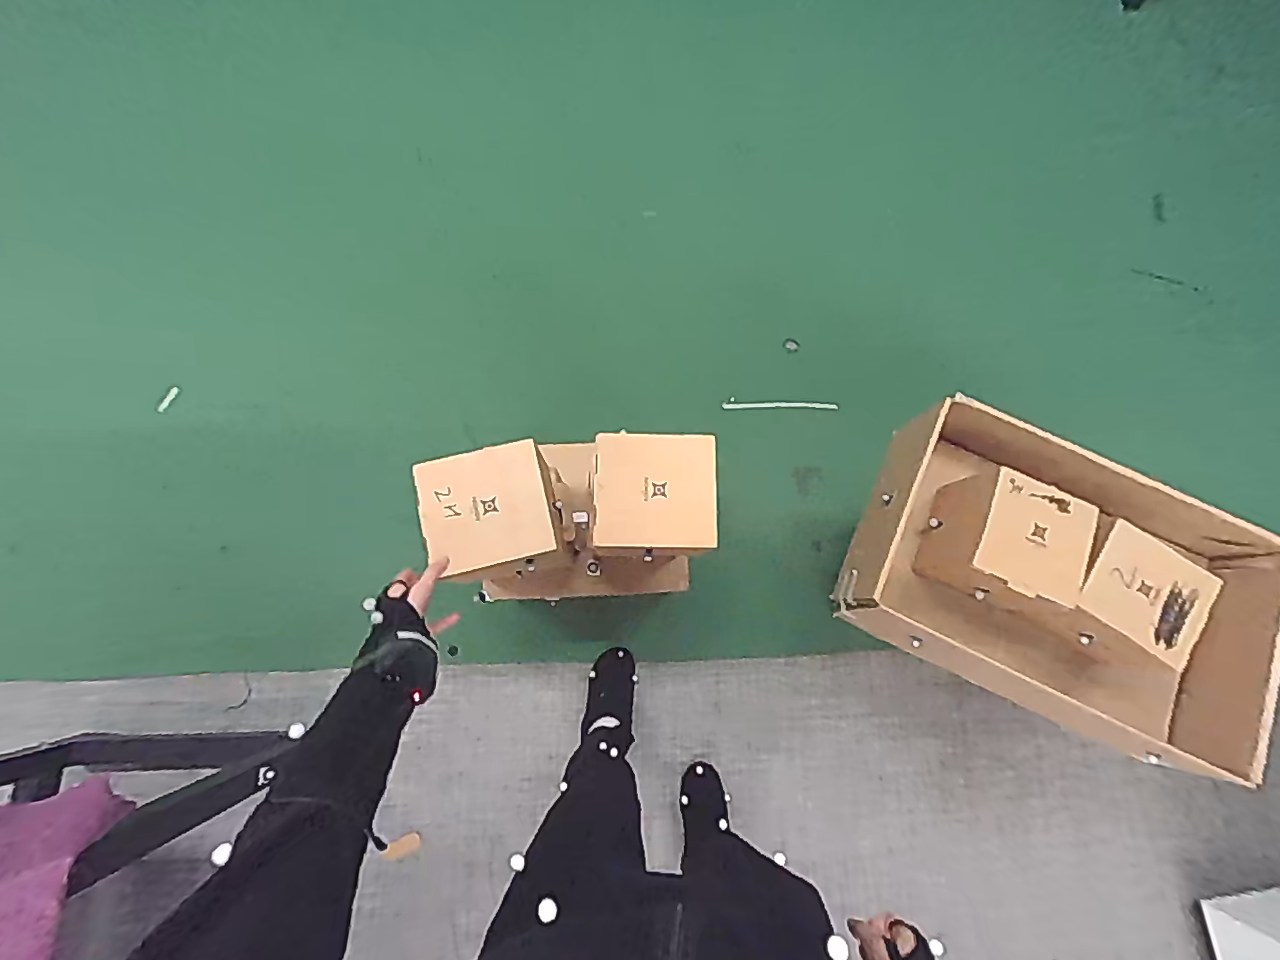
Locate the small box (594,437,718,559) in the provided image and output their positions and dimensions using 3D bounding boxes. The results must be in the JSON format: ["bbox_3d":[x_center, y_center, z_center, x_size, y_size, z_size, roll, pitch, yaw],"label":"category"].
[{"bbox_3d":[0.021,0.035,0.847,0.179,0.176,0.168,0,78,-1],"label":"small box"}]
